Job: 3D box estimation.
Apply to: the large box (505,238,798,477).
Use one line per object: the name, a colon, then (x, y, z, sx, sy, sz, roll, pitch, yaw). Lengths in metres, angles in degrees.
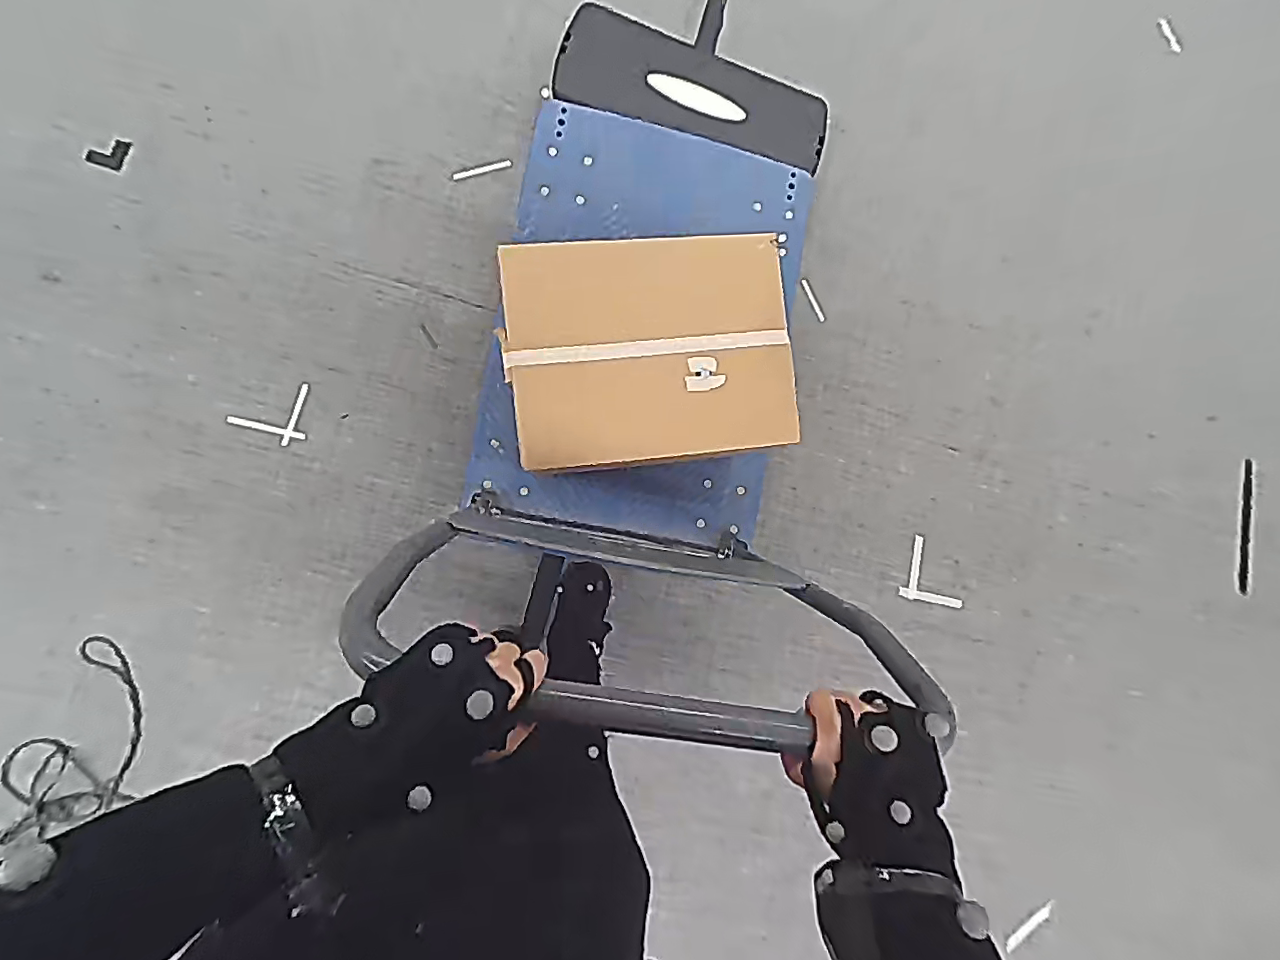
large box: (0.001, -0.183, 0.920, 0.408, 0.320, 0.320, -6, 91, -9)
